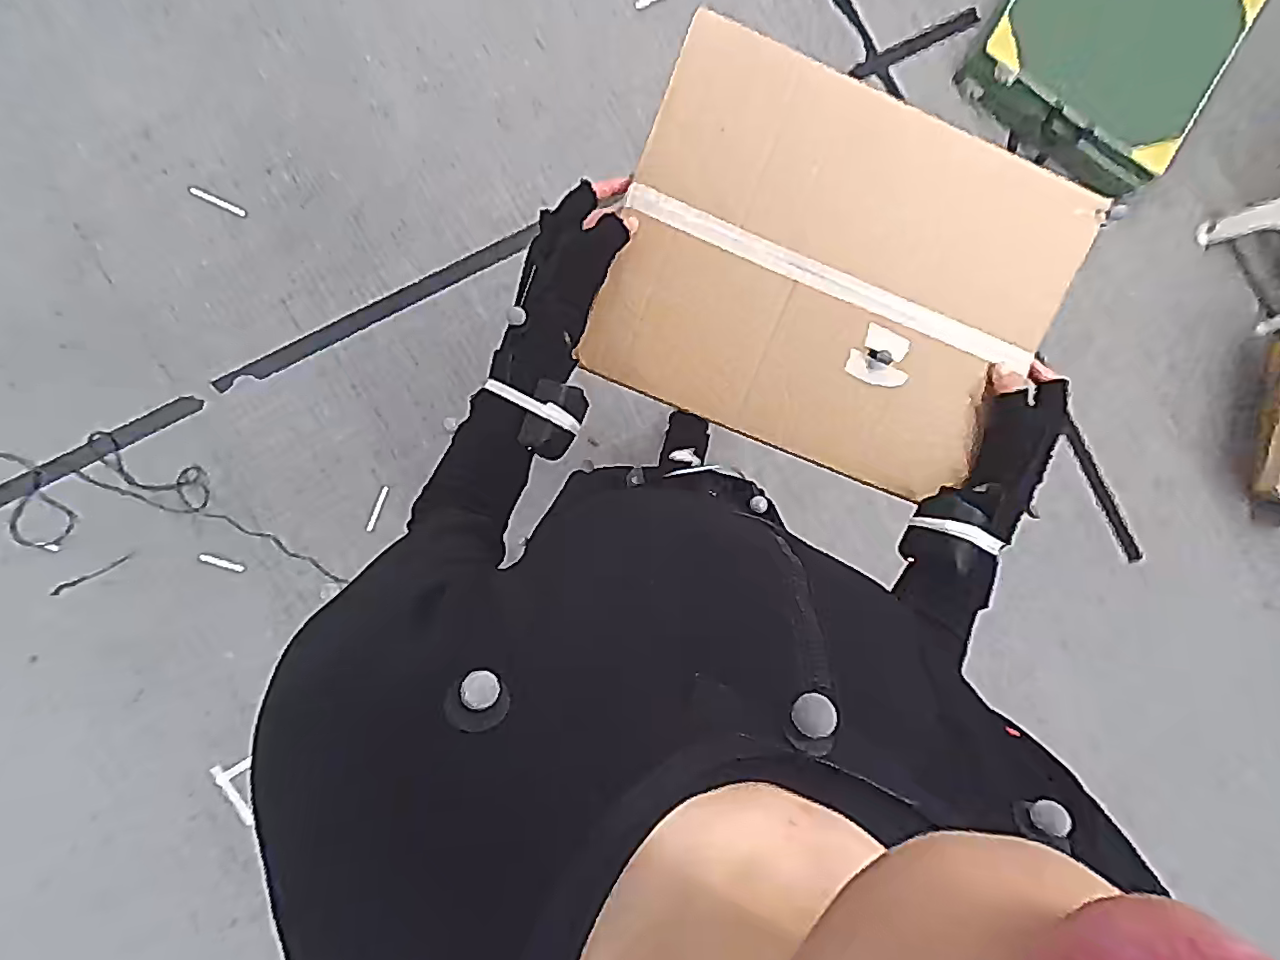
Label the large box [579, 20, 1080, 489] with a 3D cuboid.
[{"bbox_3d":[0.170,-0.223,0.657,0.408,0.320,0.320,21,101,-6],"label":"large box"}]
